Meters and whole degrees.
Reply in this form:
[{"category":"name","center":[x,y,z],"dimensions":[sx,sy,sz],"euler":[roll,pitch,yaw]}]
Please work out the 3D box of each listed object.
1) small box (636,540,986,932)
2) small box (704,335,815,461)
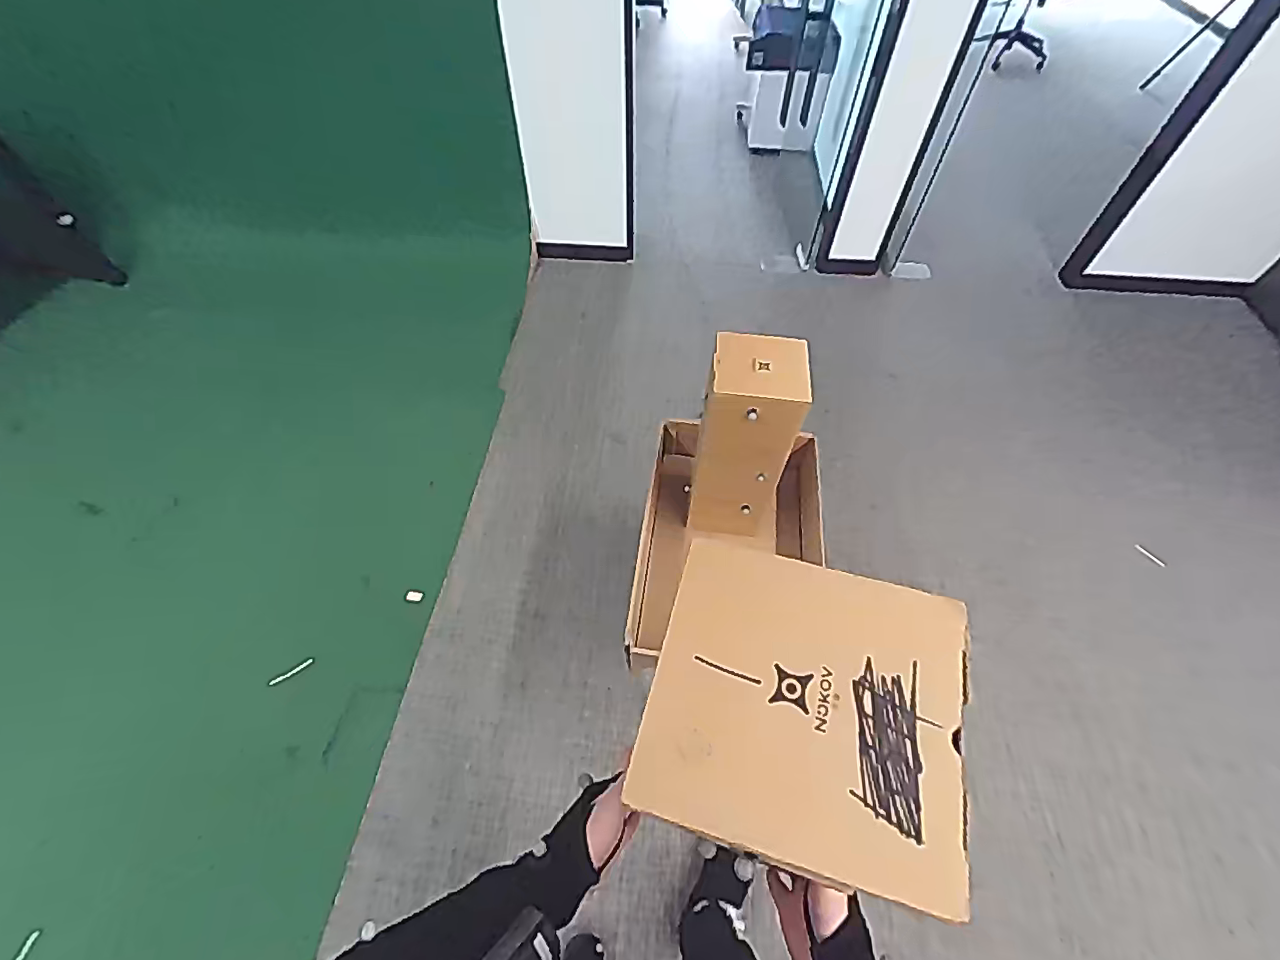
[{"category":"small box","center":[0.106,0.168,0.376],"dimensions":[0.179,0.176,0.168],"euler":[14,59,11]},{"category":"small box","center":[0.224,-0.154,1.043],"dimensions":[0.179,0.176,0.168],"euler":[6,55,3]}]
